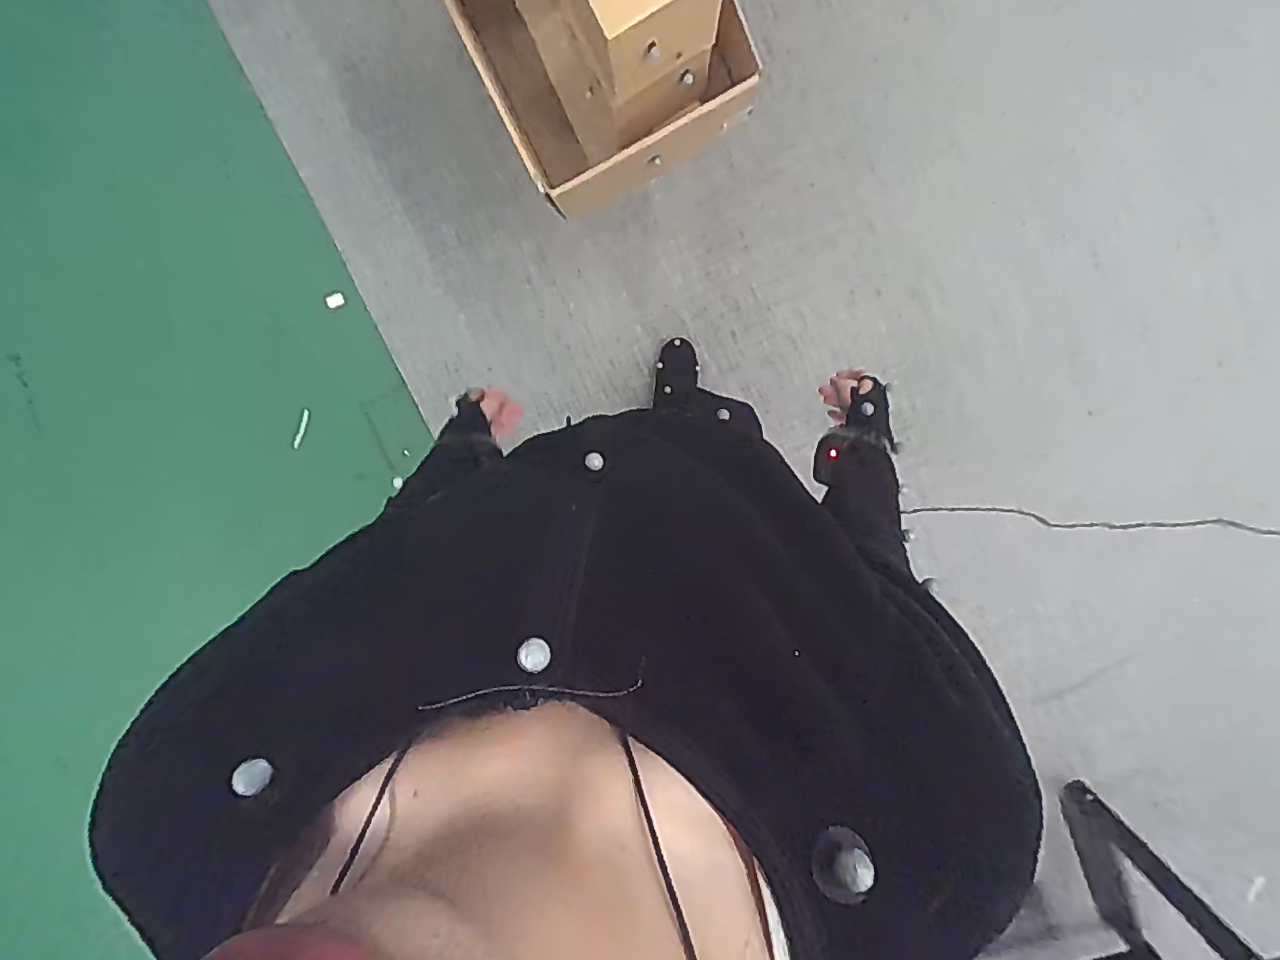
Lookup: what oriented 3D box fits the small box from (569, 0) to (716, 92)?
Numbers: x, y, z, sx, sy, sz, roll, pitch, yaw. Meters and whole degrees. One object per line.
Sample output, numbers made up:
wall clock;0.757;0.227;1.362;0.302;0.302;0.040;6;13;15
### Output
small box;-0.004;-0.660;0.715;0.168;0.176;0.179;-27;99;7
